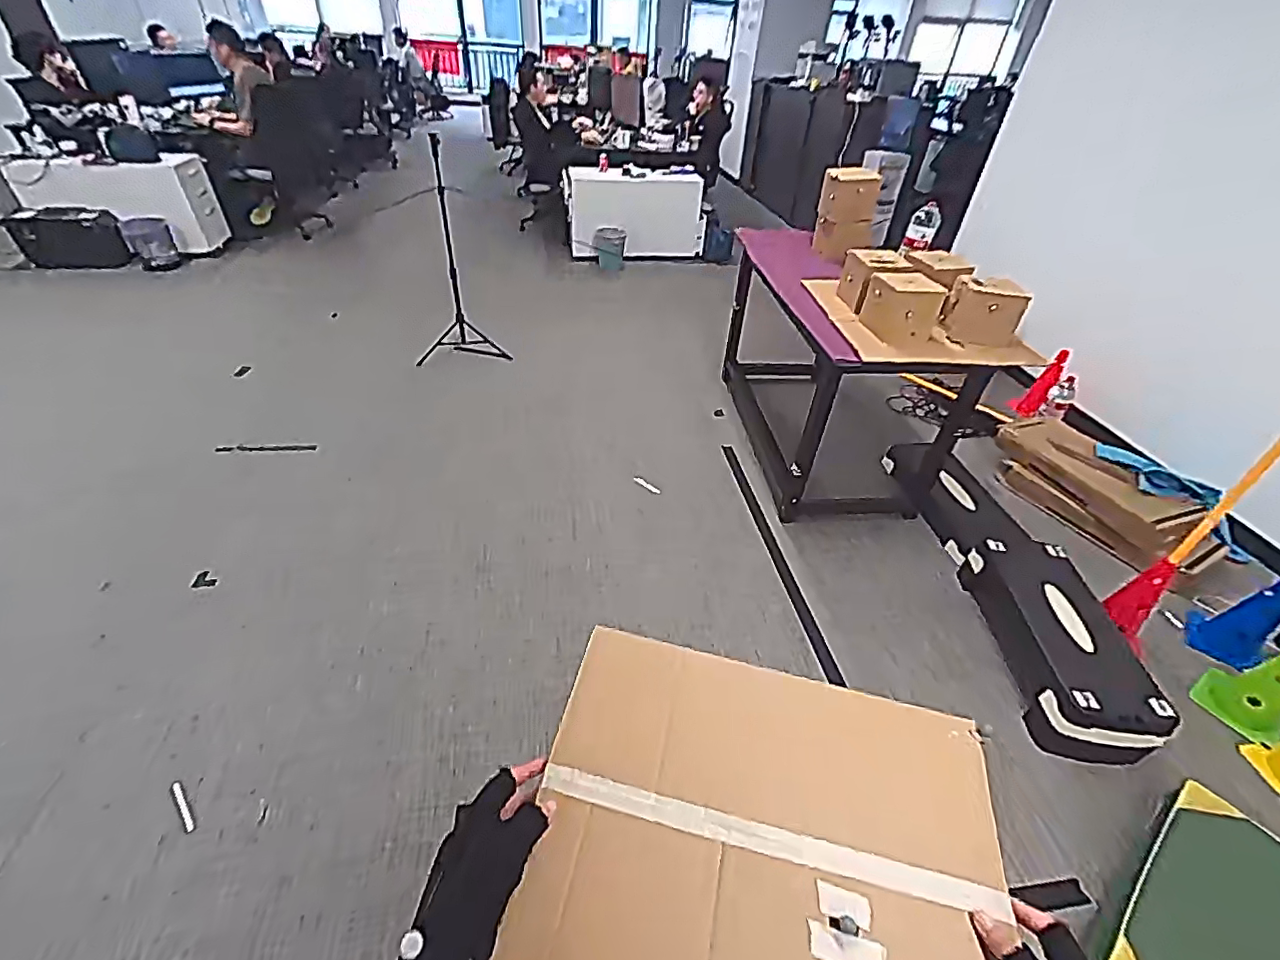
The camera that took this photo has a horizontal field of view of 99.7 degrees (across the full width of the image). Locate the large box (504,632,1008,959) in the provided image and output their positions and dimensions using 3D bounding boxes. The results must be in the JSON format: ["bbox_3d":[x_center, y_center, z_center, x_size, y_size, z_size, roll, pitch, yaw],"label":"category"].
[{"bbox_3d":[0.107,0.418,0.599,0.408,0.320,0.320,12,48,7],"label":"large box"}]
